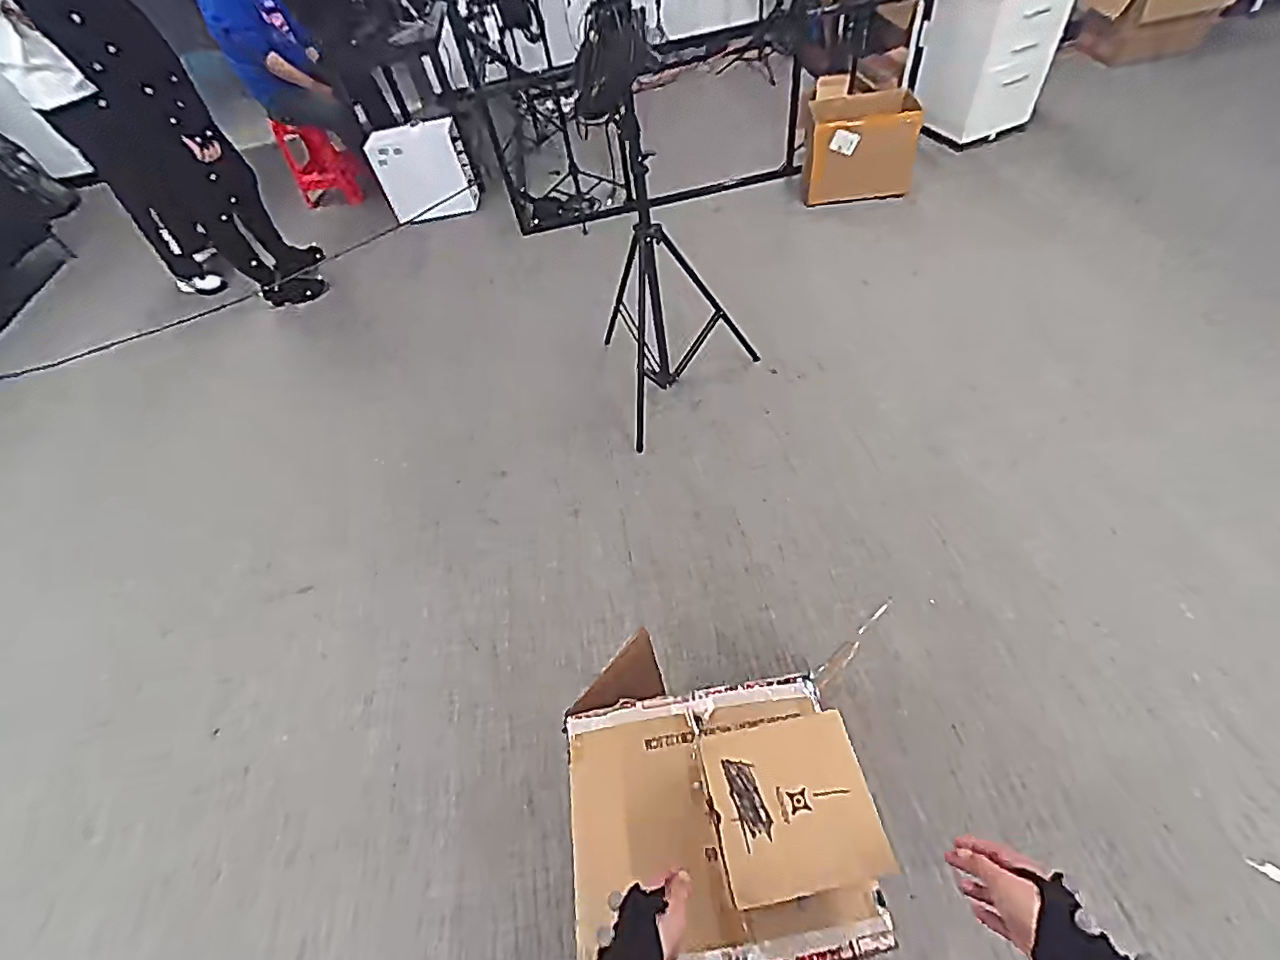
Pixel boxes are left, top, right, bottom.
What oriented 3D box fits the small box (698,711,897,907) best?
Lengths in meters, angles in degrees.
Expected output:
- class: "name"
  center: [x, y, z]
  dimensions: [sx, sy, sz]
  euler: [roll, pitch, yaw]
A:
- class: "small box"
  center: [0.175, 0.403, 0.661]
  dimensions: [0.179, 0.176, 0.168]
  euler: [-11, 54, -2]
